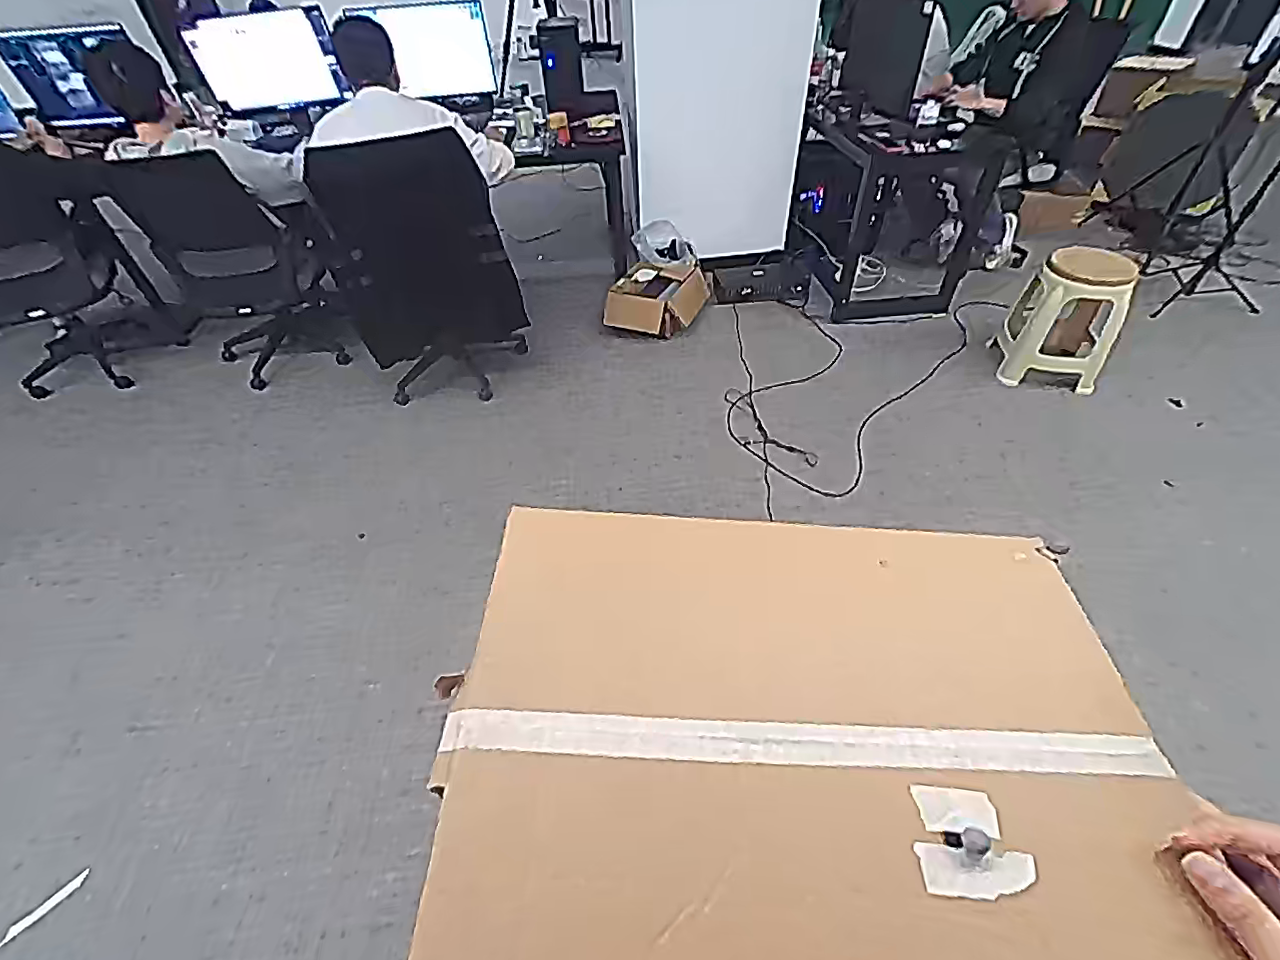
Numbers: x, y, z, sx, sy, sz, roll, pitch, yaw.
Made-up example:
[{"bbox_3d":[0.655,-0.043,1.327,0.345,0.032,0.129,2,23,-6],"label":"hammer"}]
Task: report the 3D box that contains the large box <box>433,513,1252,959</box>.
[{"bbox_3d":[0.091,0.249,0.432,0.408,0.320,0.320,4,50,-3],"label":"large box"}]
